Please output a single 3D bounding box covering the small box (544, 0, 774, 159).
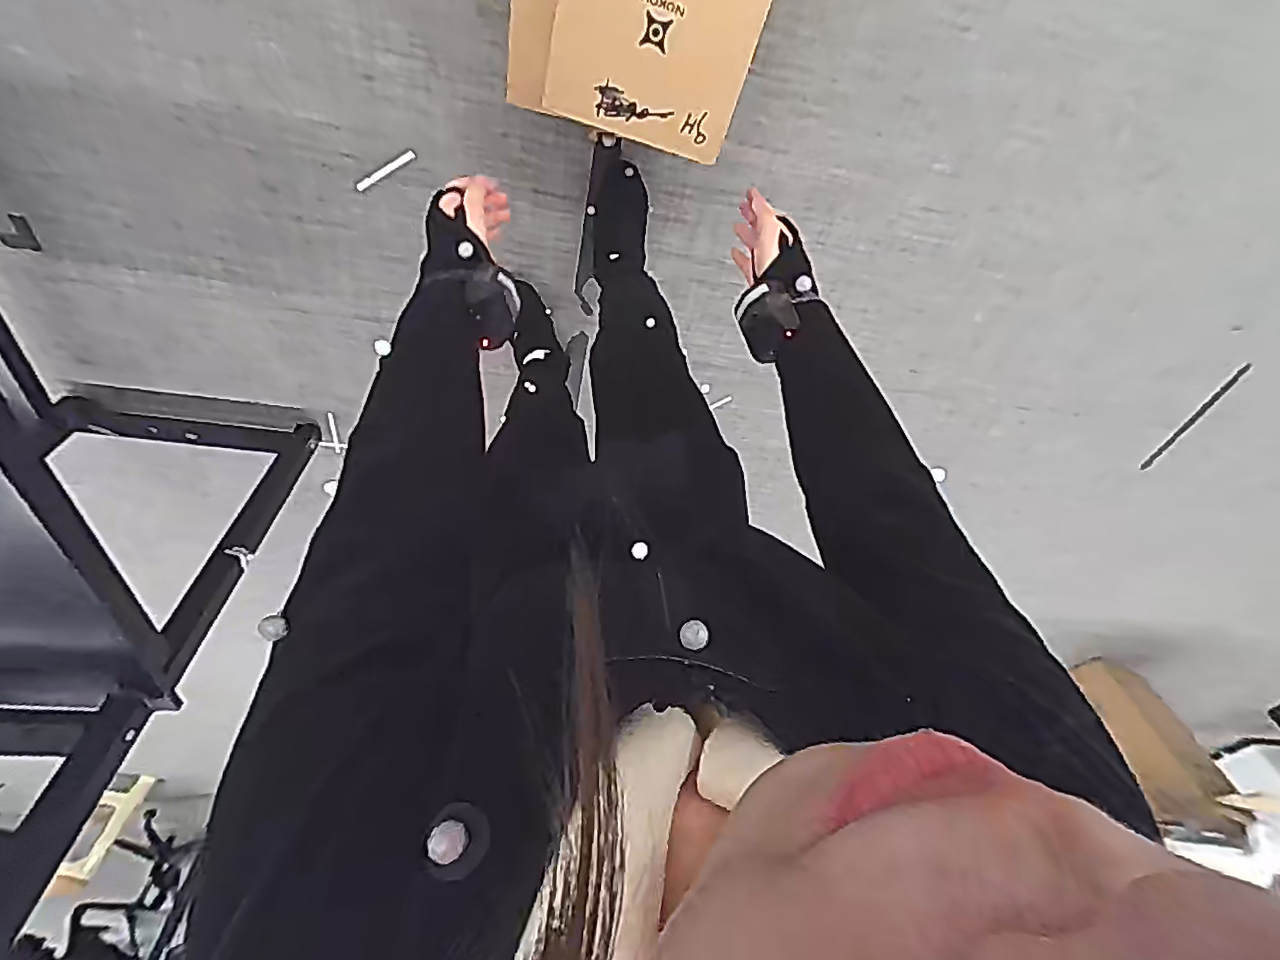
[{"bbox_3d":[0.015,-0.427,0.487,0.168,0.176,0.179,12,129,-13],"label":"small box"}]

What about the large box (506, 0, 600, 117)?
[{"bbox_3d":[-0.002,-0.750,0.745,0.320,0.320,0.408,6,131,-12],"label":"large box"}]
